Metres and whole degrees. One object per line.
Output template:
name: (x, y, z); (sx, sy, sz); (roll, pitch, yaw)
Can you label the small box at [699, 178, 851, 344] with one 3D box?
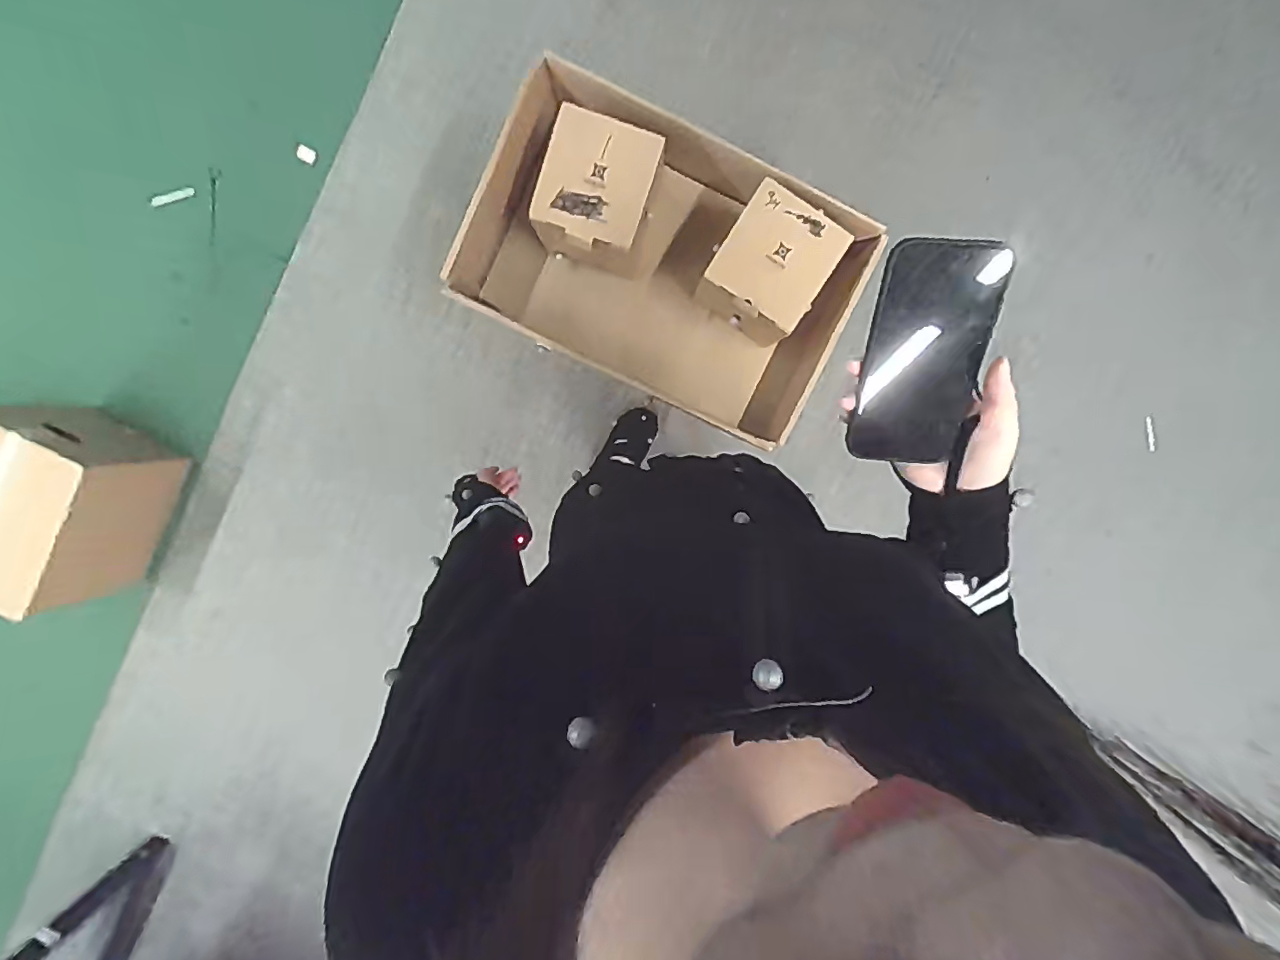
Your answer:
small box: (0.210, -0.346, 0.900); (0.168, 0.176, 0.179); (34, 96, -3)
